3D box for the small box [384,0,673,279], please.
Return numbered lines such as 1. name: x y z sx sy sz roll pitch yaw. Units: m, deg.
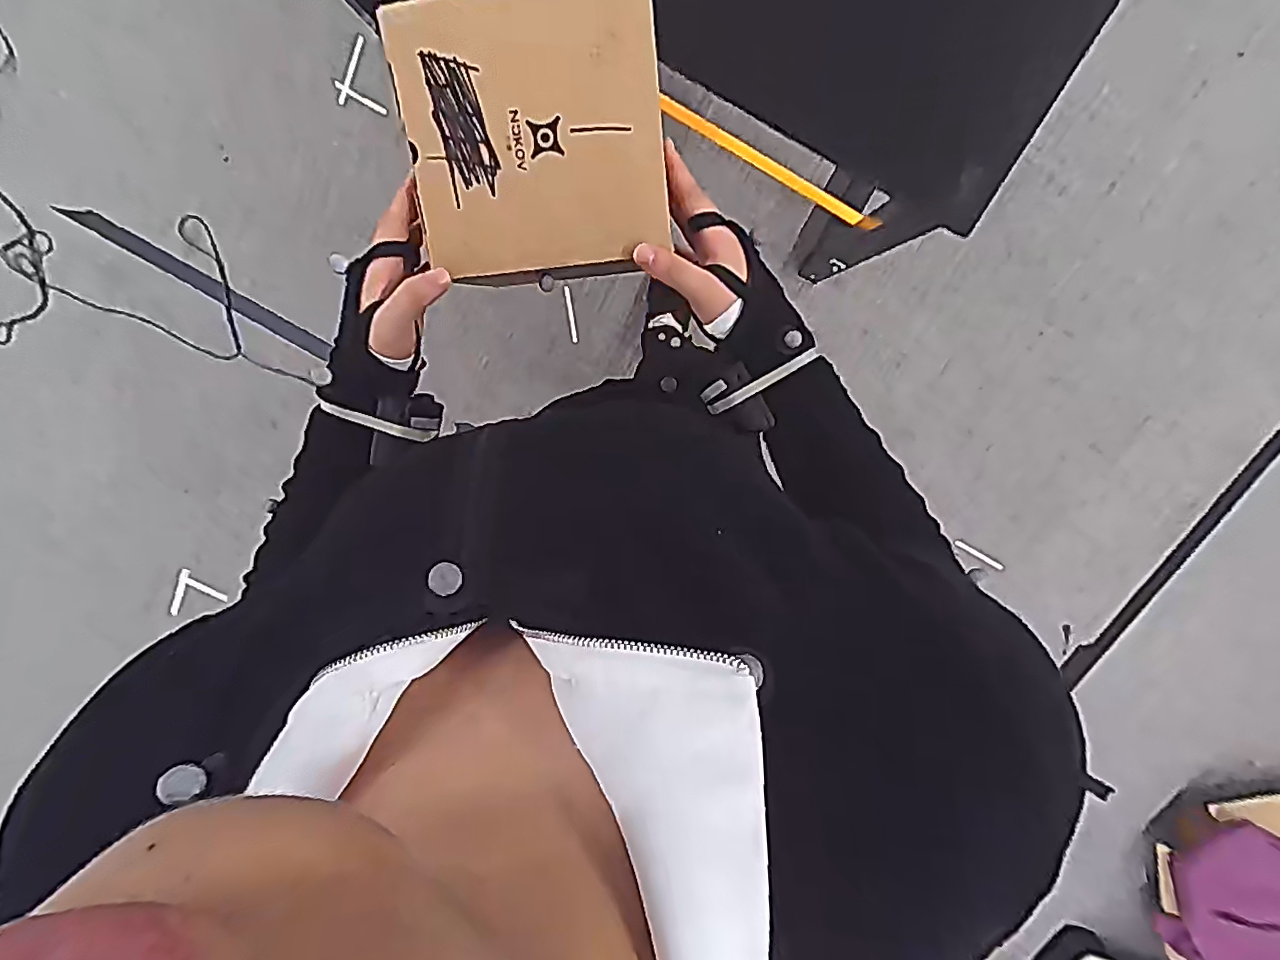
1. small box: -0.068 -0.258 0.435 0.179 0.176 0.168 -5 108 2
